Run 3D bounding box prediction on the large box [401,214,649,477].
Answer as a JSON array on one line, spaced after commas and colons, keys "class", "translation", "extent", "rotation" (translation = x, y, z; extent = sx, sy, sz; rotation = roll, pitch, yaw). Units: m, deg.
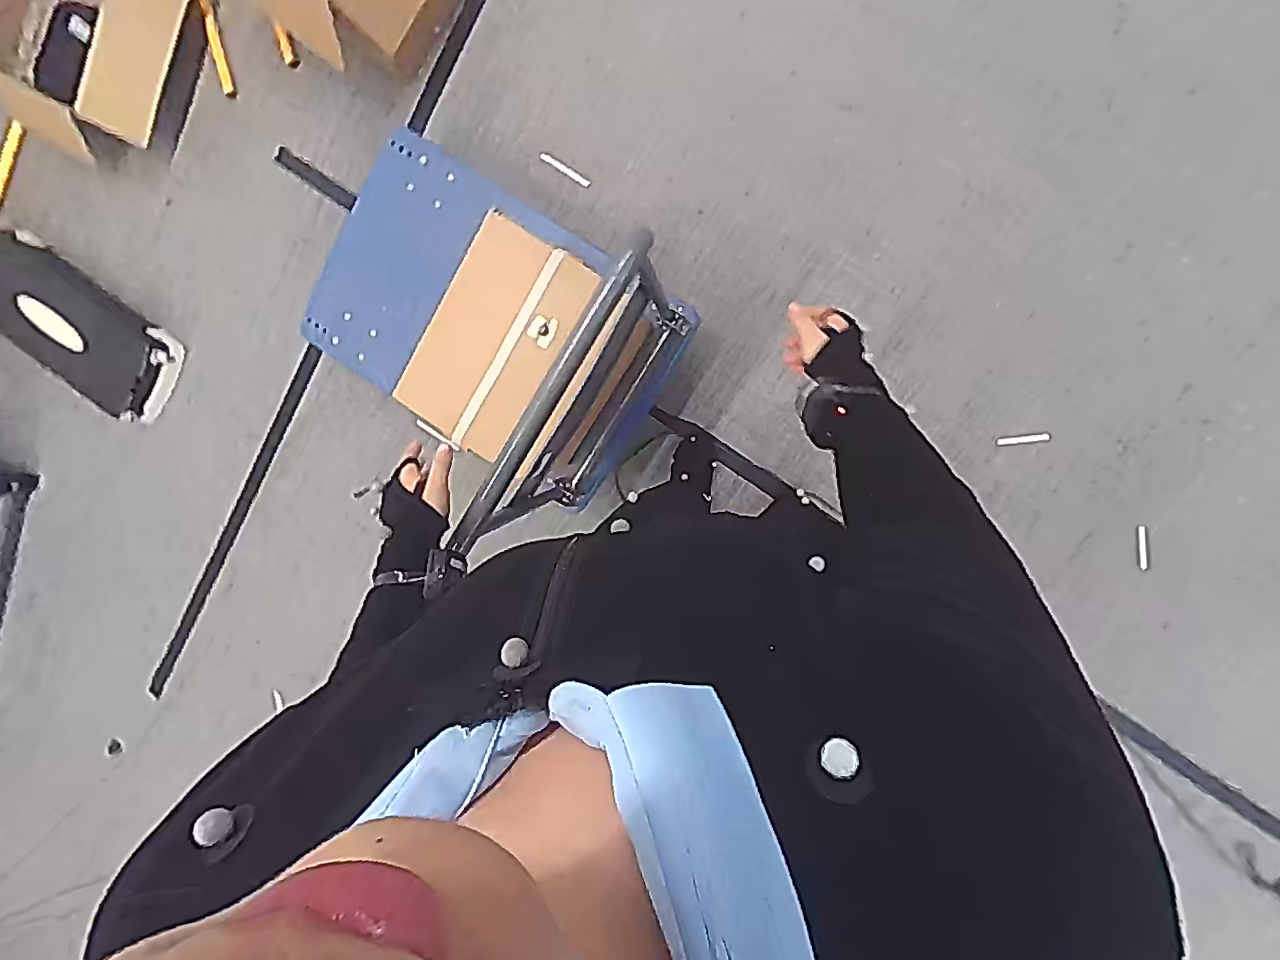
[{"class": "large box", "translation": [-0.225, -0.262, 1.167], "extent": [0.320, 0.320, 0.408], "rotation": [33, 99, 3]}]
